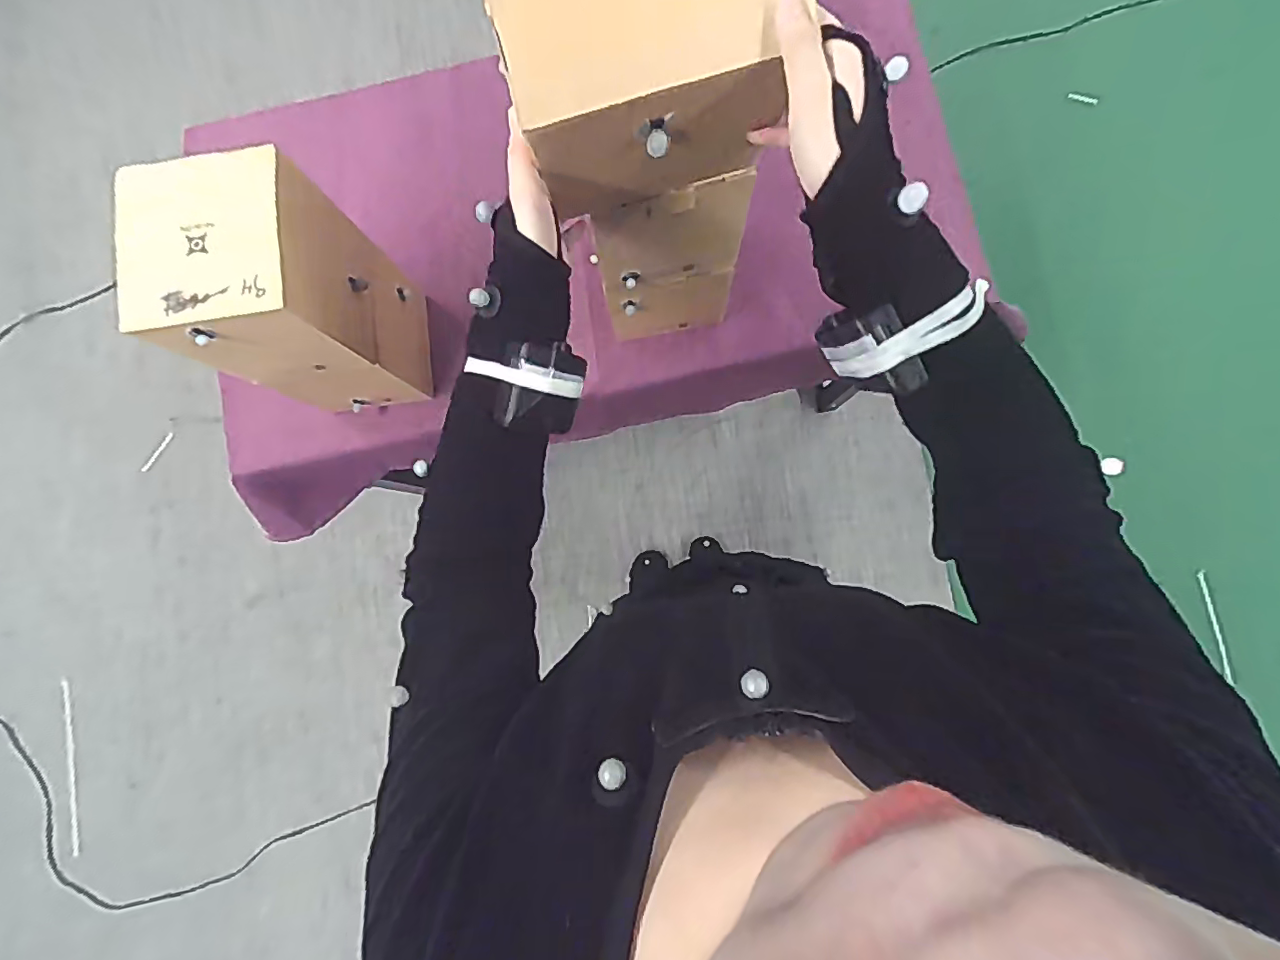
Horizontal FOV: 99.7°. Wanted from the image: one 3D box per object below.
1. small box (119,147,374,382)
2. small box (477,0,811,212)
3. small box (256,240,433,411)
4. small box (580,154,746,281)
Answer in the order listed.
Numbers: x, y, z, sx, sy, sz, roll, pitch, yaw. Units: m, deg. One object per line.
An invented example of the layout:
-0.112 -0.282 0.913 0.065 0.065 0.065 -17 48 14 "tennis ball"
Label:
-0.425 -0.228 0.610 0.168 0.176 0.179 -8 82 4 "small box"
-0.007 -0.308 0.367 0.179 0.176 0.168 -14 100 4 "small box"
-0.415 -0.210 0.774 0.168 0.176 0.179 -8 84 3 "small box"
0.010 -0.343 0.600 0.168 0.176 0.179 -13 81 1 "small box"
